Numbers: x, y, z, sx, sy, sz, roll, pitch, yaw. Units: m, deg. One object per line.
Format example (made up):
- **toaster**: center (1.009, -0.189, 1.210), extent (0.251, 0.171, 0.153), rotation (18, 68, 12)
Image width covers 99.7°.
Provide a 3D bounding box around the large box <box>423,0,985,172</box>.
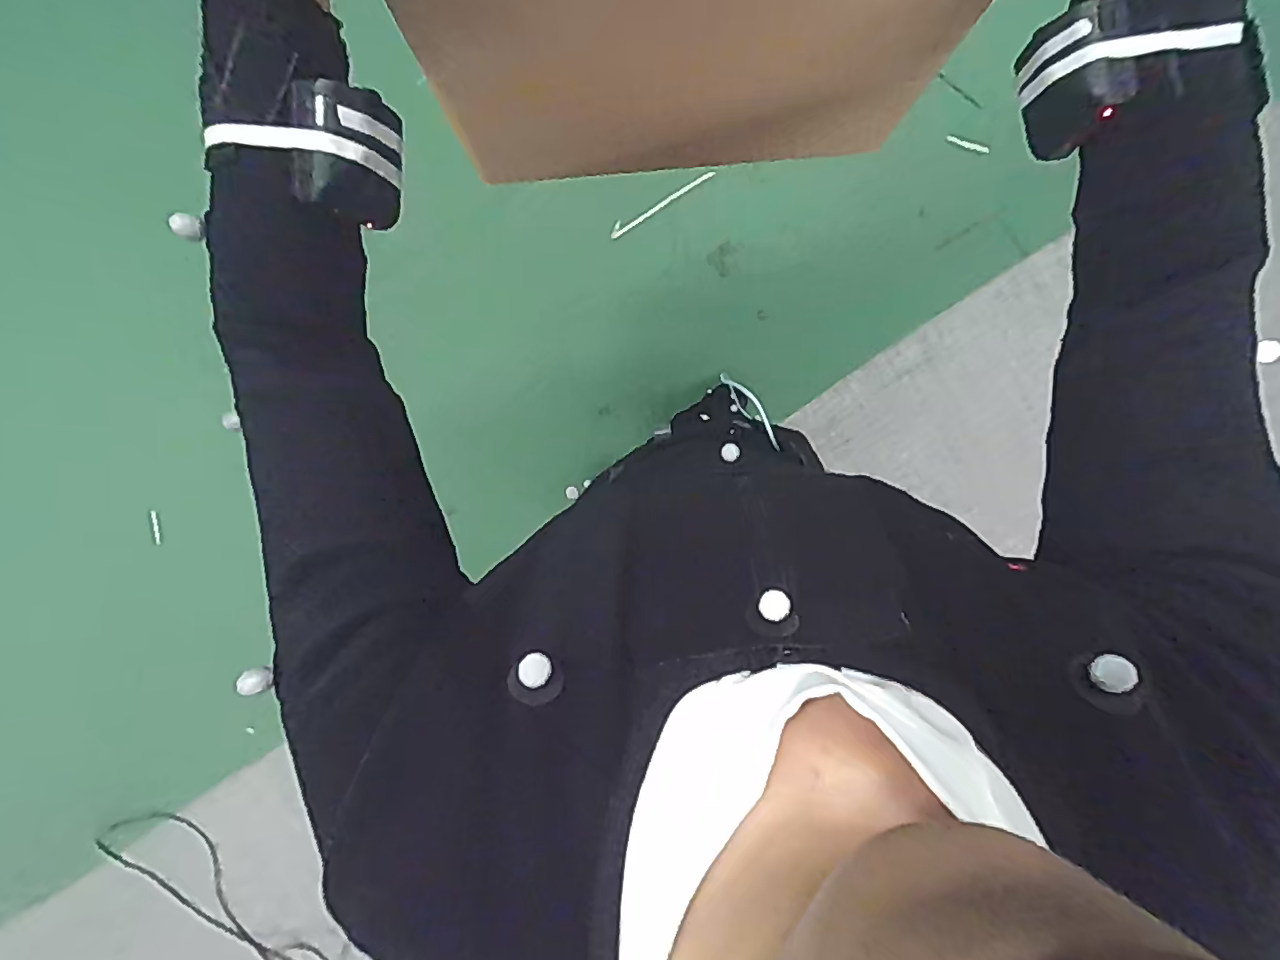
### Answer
- **large box**: center (0.039, -0.473, 0.396), extent (0.408, 0.320, 0.320), rotation (-5, 92, -1)
